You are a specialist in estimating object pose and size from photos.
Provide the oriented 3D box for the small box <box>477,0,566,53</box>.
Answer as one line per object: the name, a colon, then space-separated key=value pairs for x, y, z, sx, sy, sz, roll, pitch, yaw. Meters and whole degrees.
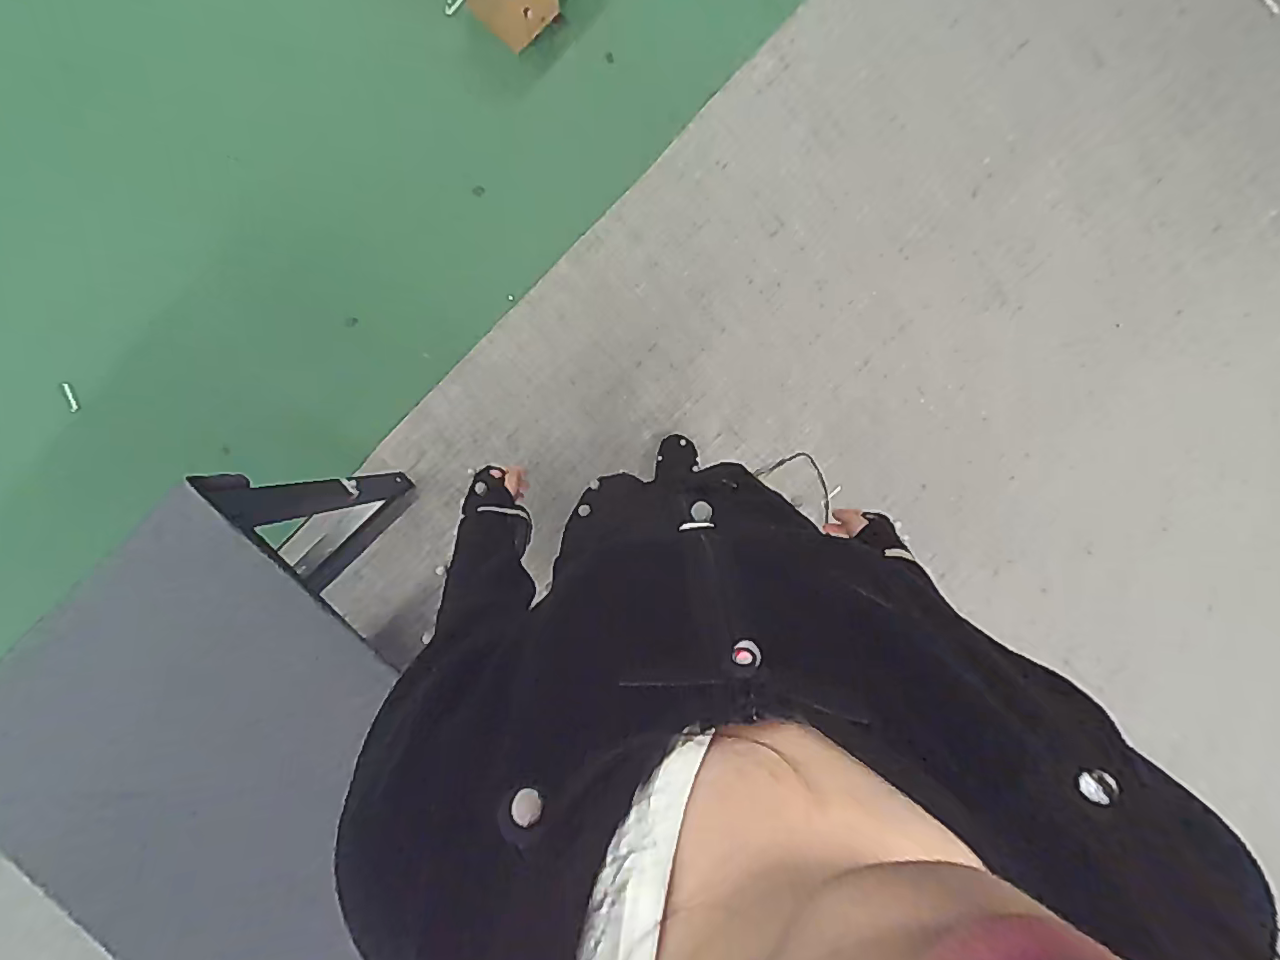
small box: x=-0.309 y=-1.242 z=1.370 sx=0.168 sy=0.176 sz=0.179 roll=-45 pitch=91 yaw=3
